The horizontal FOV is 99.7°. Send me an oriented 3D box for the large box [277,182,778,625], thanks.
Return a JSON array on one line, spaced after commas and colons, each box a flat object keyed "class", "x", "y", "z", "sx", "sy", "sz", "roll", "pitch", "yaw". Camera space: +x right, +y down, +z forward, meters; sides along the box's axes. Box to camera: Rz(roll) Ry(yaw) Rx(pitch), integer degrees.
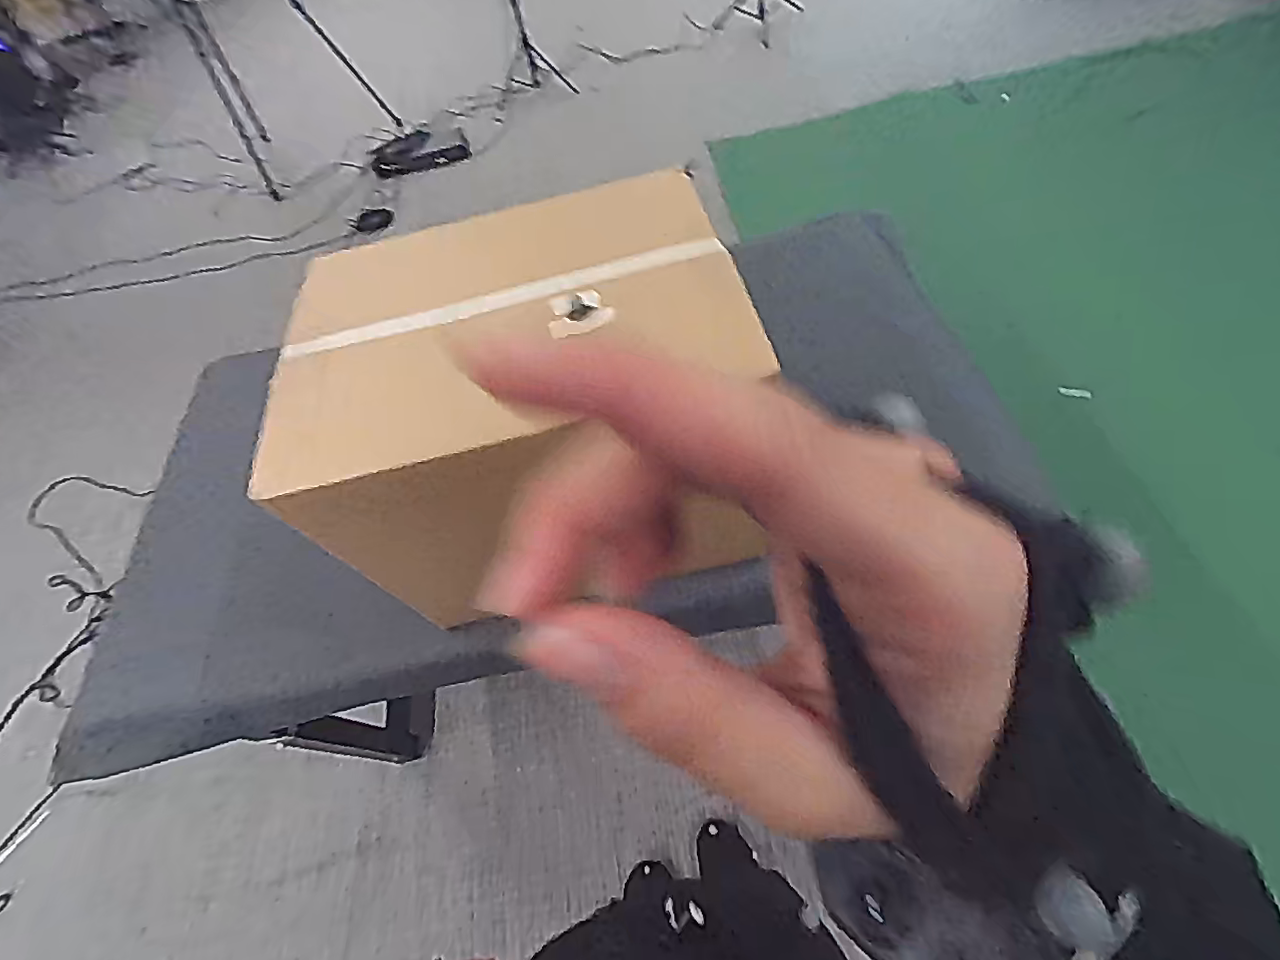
[{"class": "large box", "x": -0.096, "y": -0.070, "z": 0.616, "sx": 0.408, "sy": 0.320, "sz": 0.320, "roll": -13, "pitch": 56, "yaw": 0}]
